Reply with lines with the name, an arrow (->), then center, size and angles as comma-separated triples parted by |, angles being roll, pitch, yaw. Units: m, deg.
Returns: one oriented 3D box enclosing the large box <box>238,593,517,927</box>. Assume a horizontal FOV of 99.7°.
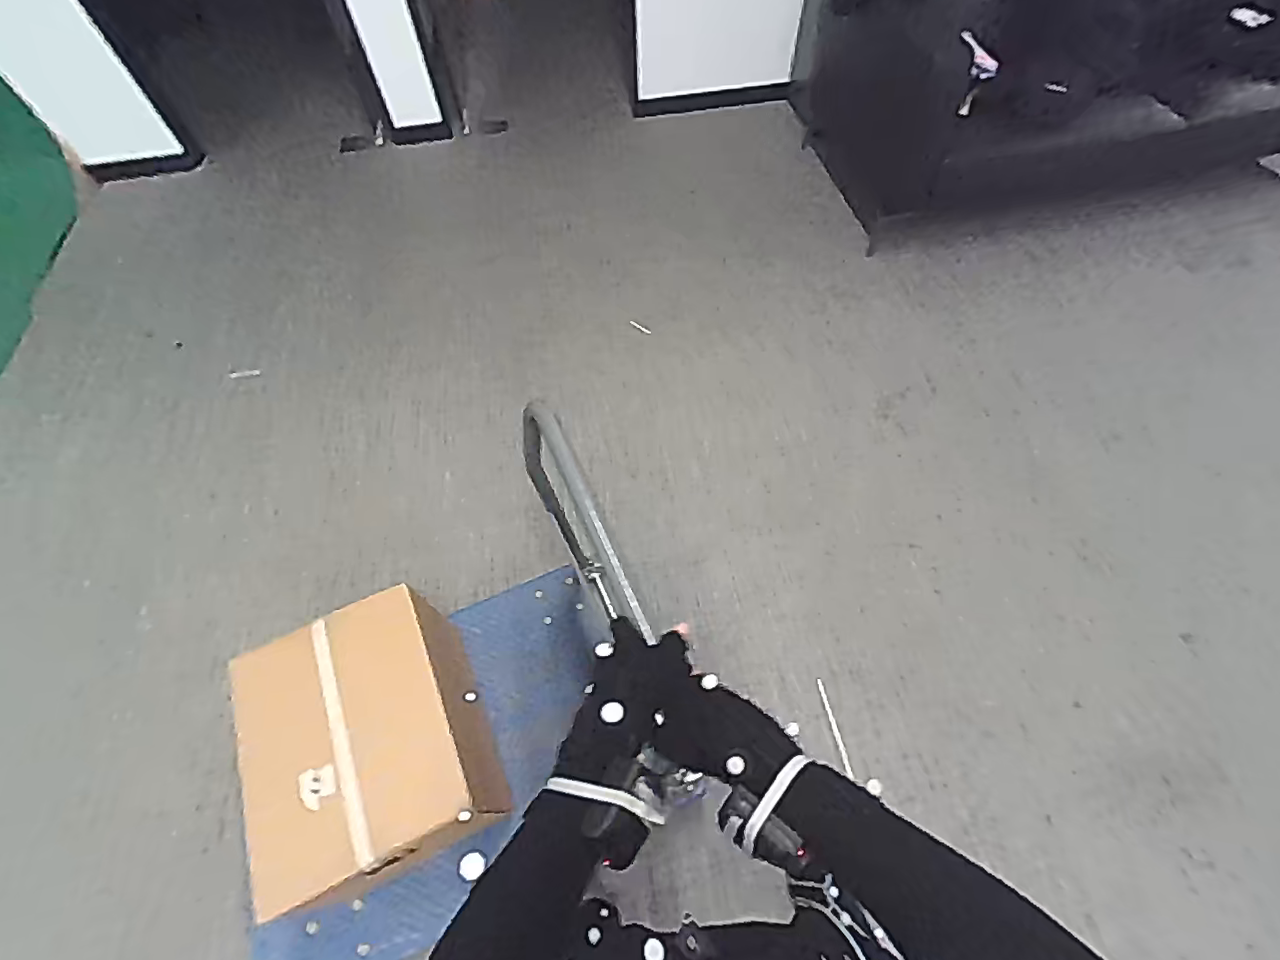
large box -> -0.465, 0.491, 1.001 | 0.320, 0.320, 0.408 | -24, 61, -13
